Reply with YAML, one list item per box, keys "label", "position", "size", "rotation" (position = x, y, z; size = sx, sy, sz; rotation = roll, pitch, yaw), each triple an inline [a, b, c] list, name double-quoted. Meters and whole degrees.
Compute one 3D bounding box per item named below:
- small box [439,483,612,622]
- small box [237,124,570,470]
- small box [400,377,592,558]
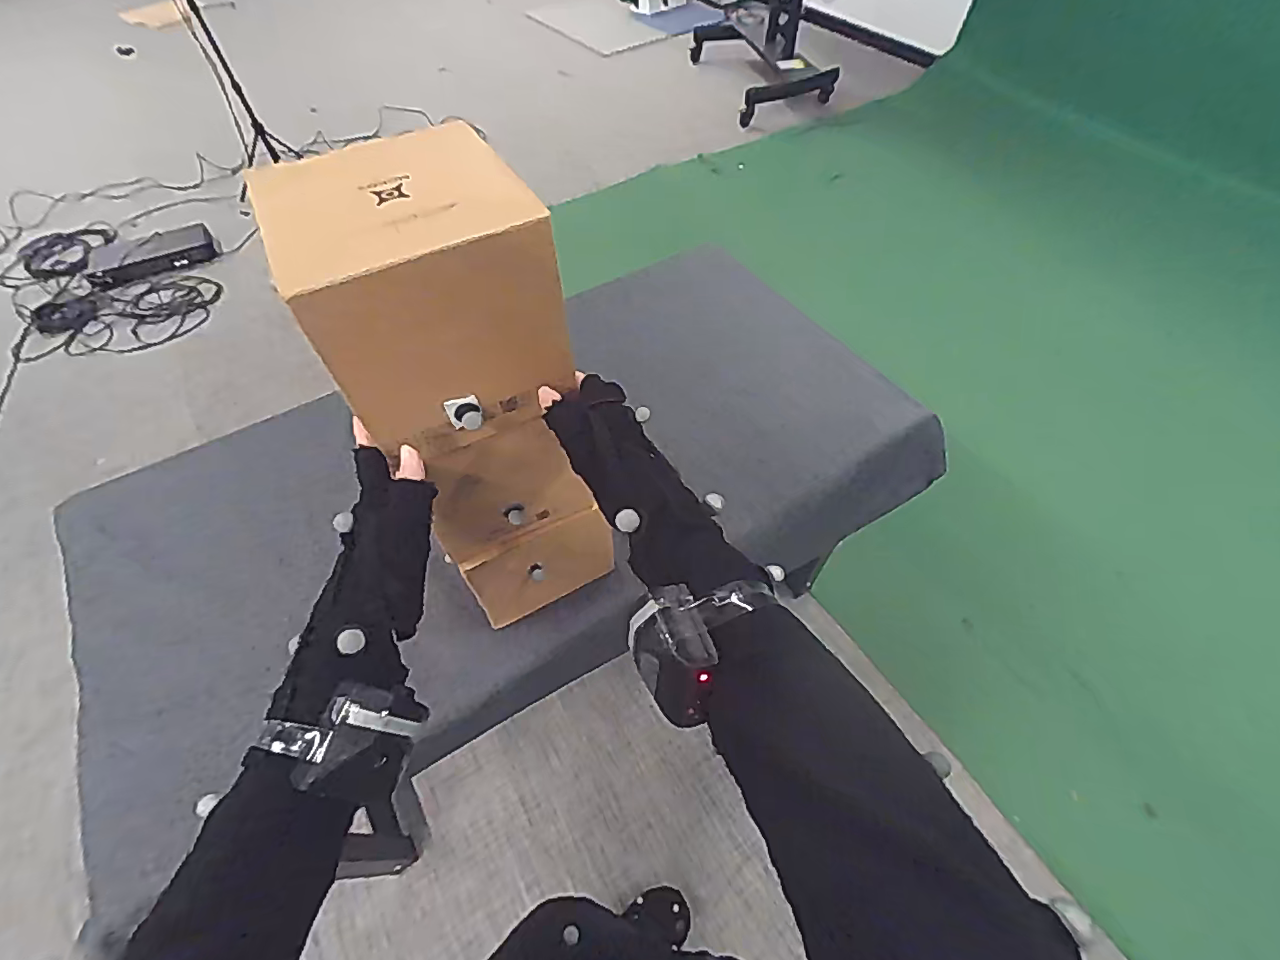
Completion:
- label: "small box"
  position: [-0.150, 0.053, 0.689]
  size: [0.179, 0.176, 0.168]
  rotation: [-26, 58, -15]
- label: "small box"
  position: [-0.171, -0.141, 0.426]
  size: [0.168, 0.176, 0.179]
  rotation: [-27, 58, -15]
- label: "small box"
  position: [-0.164, -0.053, 0.562]
  size: [0.168, 0.176, 0.179]
  rotation: [-26, 56, -16]
